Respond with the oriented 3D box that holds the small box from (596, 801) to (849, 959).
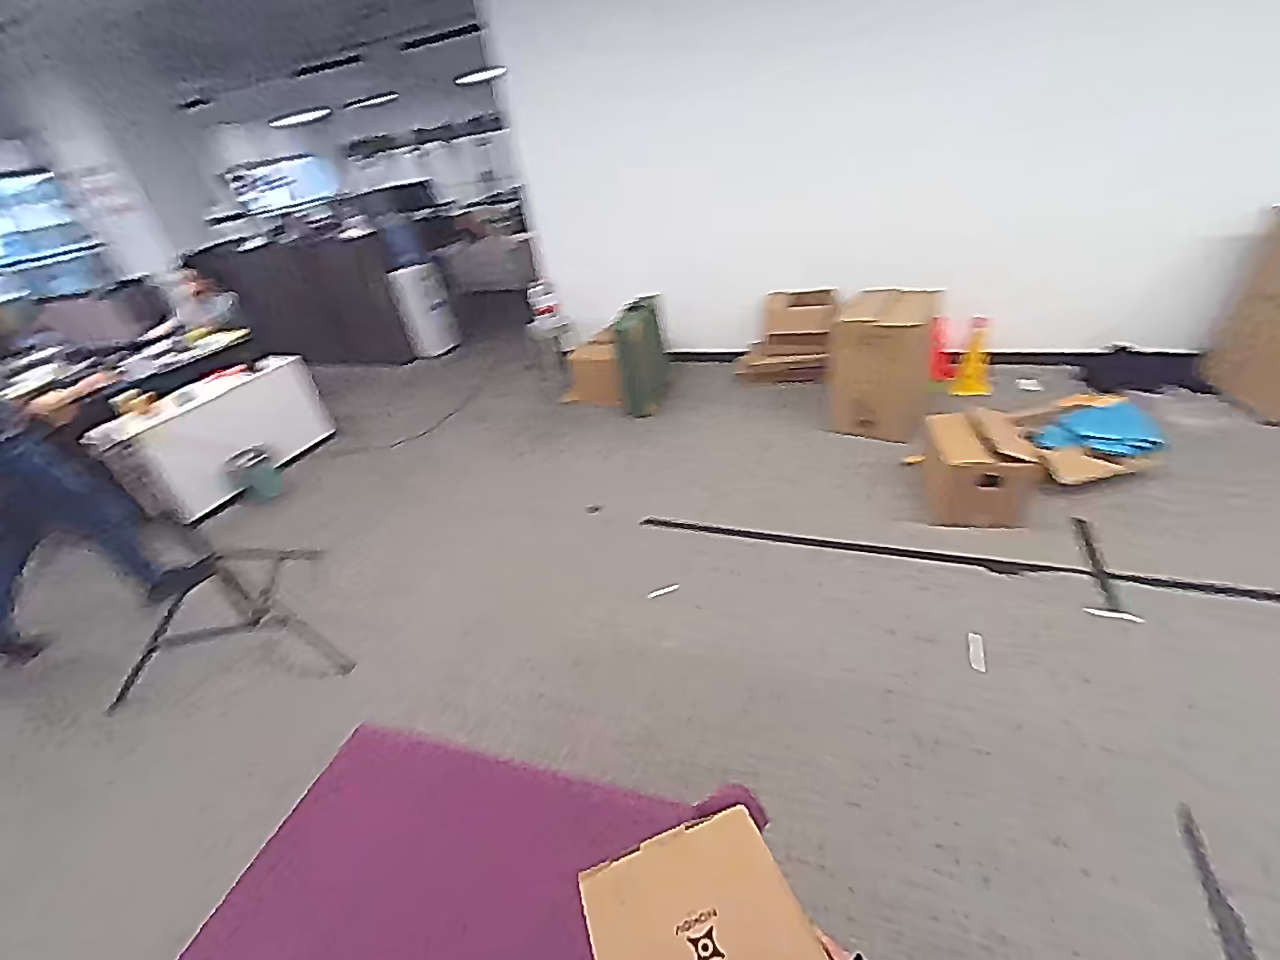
[{"bbox_3d":[0.069,0.424,0.452,0.168,0.176,0.179,-13,25,-14],"label":"small box"}]
